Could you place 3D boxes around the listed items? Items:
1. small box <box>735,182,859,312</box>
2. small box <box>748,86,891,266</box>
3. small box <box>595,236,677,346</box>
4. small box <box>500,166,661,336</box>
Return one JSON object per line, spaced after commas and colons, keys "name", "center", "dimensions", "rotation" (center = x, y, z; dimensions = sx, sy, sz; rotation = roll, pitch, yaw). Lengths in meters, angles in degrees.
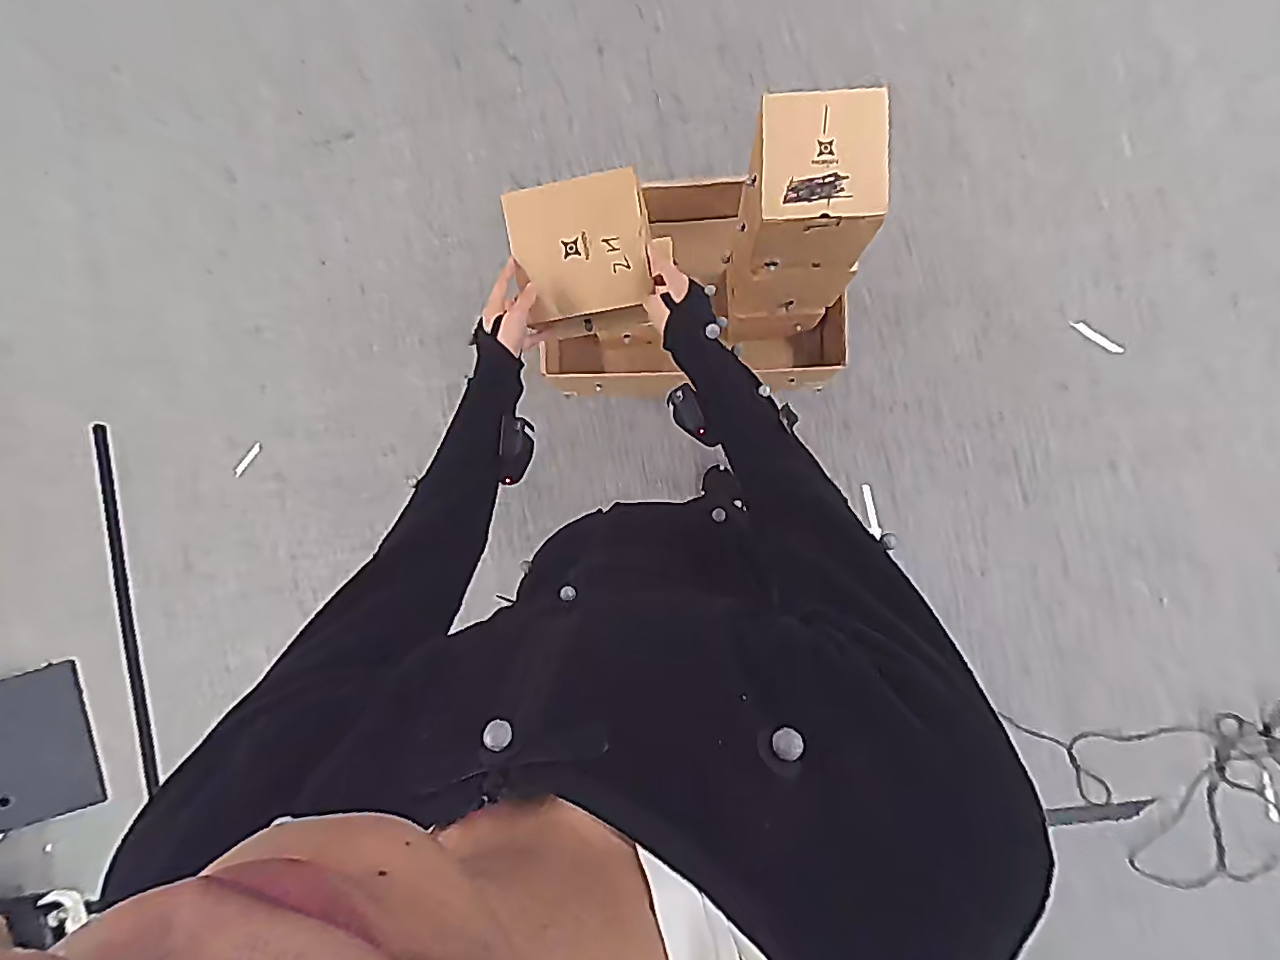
{"name": "small box", "center": [0.266, -0.406, 0.950], "dimensions": [0.179, 0.176, 0.168], "rotation": [-3, 88, 4]}
{"name": "small box", "center": [0.250, -0.425, 0.786], "dimensions": [0.168, 0.176, 0.179], "rotation": [1, 88, 5]}
{"name": "small box", "center": [-0.008, -0.388, 1.143], "dimensions": [0.168, 0.176, 0.179], "rotation": [-2, 88, 5]}
{"name": "small box", "center": [-0.072, -0.302, 0.753], "dimensions": [0.179, 0.176, 0.168], "rotation": [-8, 98, 6]}
